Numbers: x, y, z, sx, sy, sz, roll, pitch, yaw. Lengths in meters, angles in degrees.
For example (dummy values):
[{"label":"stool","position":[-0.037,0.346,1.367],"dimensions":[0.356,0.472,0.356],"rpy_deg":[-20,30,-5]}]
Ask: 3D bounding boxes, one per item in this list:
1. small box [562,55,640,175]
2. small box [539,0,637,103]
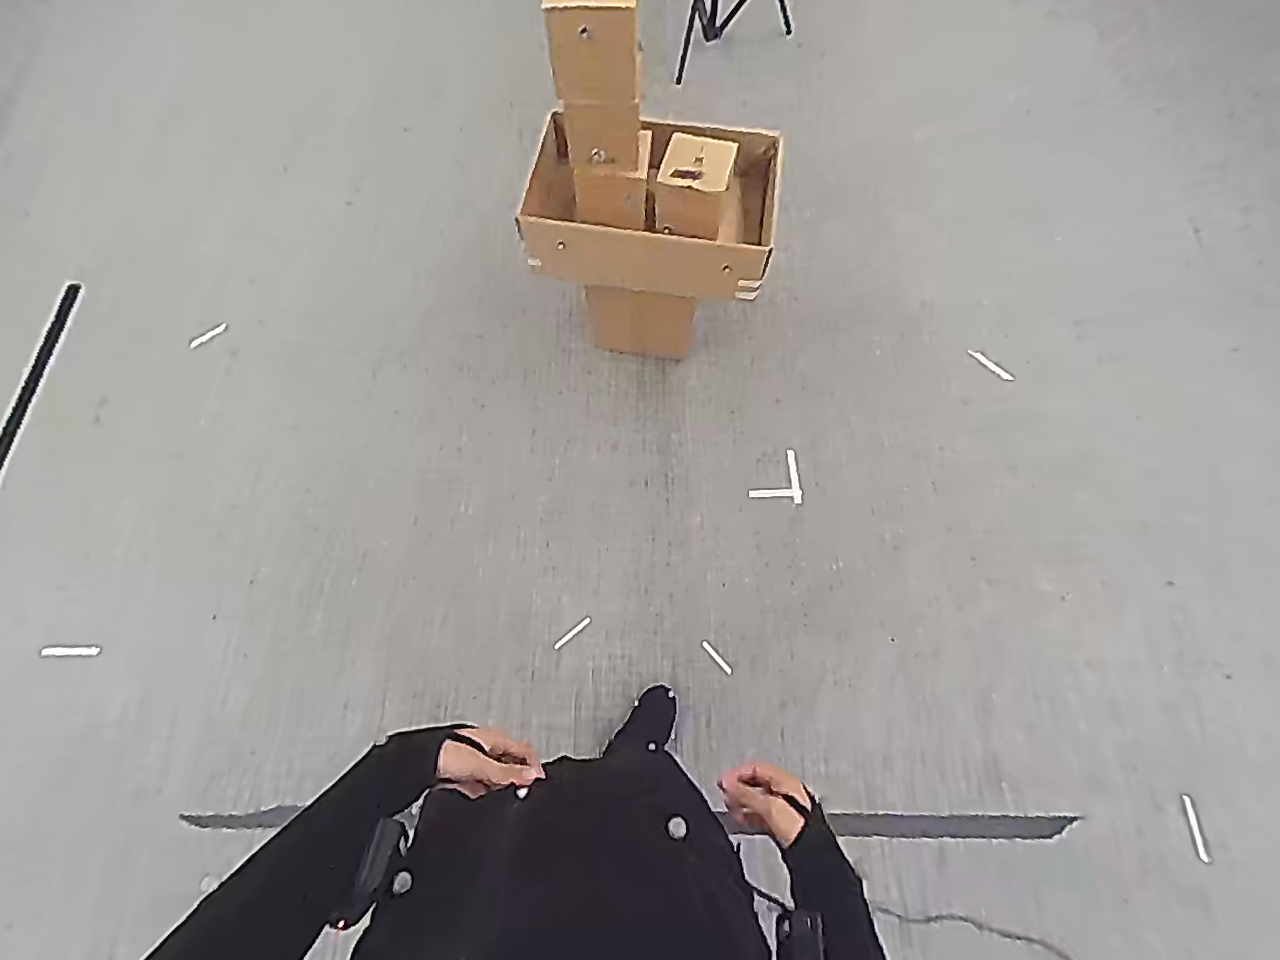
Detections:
[{"label":"small box","position":[-0.085,-0.838,1.245],"dimensions":[0.168,0.176,0.179],"rpy_deg":[0,68,0]},{"label":"small box","position":[-0.096,-0.897,1.092],"dimensions":[0.179,0.176,0.168],"rpy_deg":[1,69,0]}]
